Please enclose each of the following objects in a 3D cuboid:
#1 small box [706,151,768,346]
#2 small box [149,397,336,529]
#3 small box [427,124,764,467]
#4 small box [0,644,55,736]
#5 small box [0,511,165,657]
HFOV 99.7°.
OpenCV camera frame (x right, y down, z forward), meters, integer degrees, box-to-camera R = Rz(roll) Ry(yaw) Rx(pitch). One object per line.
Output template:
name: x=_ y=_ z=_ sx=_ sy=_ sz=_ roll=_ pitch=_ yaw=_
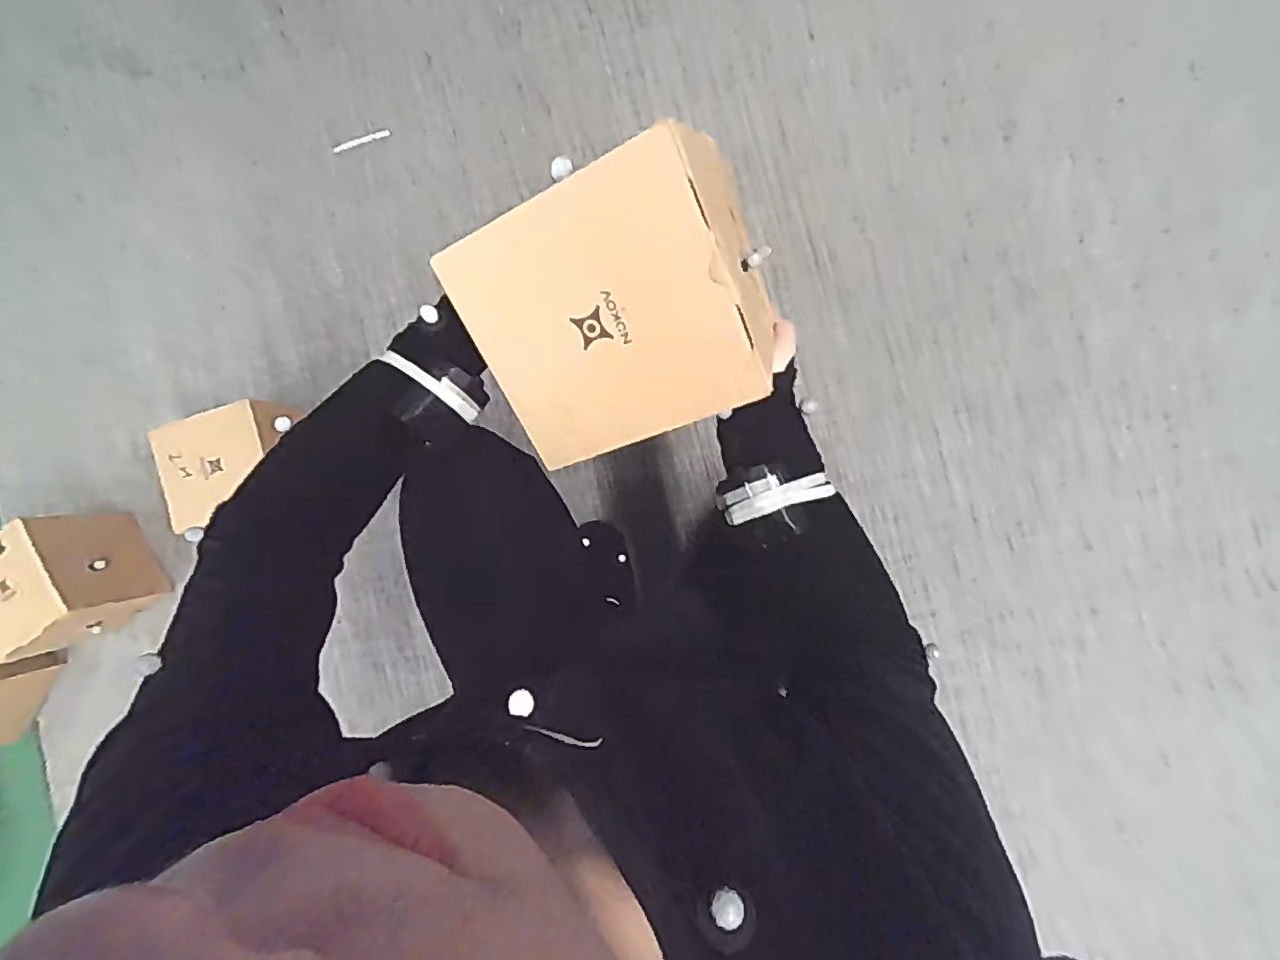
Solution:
small box: x=0.025 y=-0.210 z=0.553 sx=0.179 sy=0.176 sz=0.168 roll=-14 pitch=115 yaw=21
small box: x=-0.636 y=-0.025 z=0.891 sx=0.179 sy=0.176 sz=0.168 roll=-16 pitch=87 yaw=5
small box: x=-0.013 y=-0.136 z=0.413 sx=0.179 sy=0.176 sz=0.168 roll=-16 pitch=114 yaw=22
small box: x=-1.208 y=0.363 z=0.948 sx=0.168 sy=0.176 sz=0.179 roll=32 pitch=92 yaw=6
small box: x=-0.984 y=0.166 z=0.926 sx=0.168 sy=0.176 sz=0.179 roll=-32 pitch=87 yaw=5
